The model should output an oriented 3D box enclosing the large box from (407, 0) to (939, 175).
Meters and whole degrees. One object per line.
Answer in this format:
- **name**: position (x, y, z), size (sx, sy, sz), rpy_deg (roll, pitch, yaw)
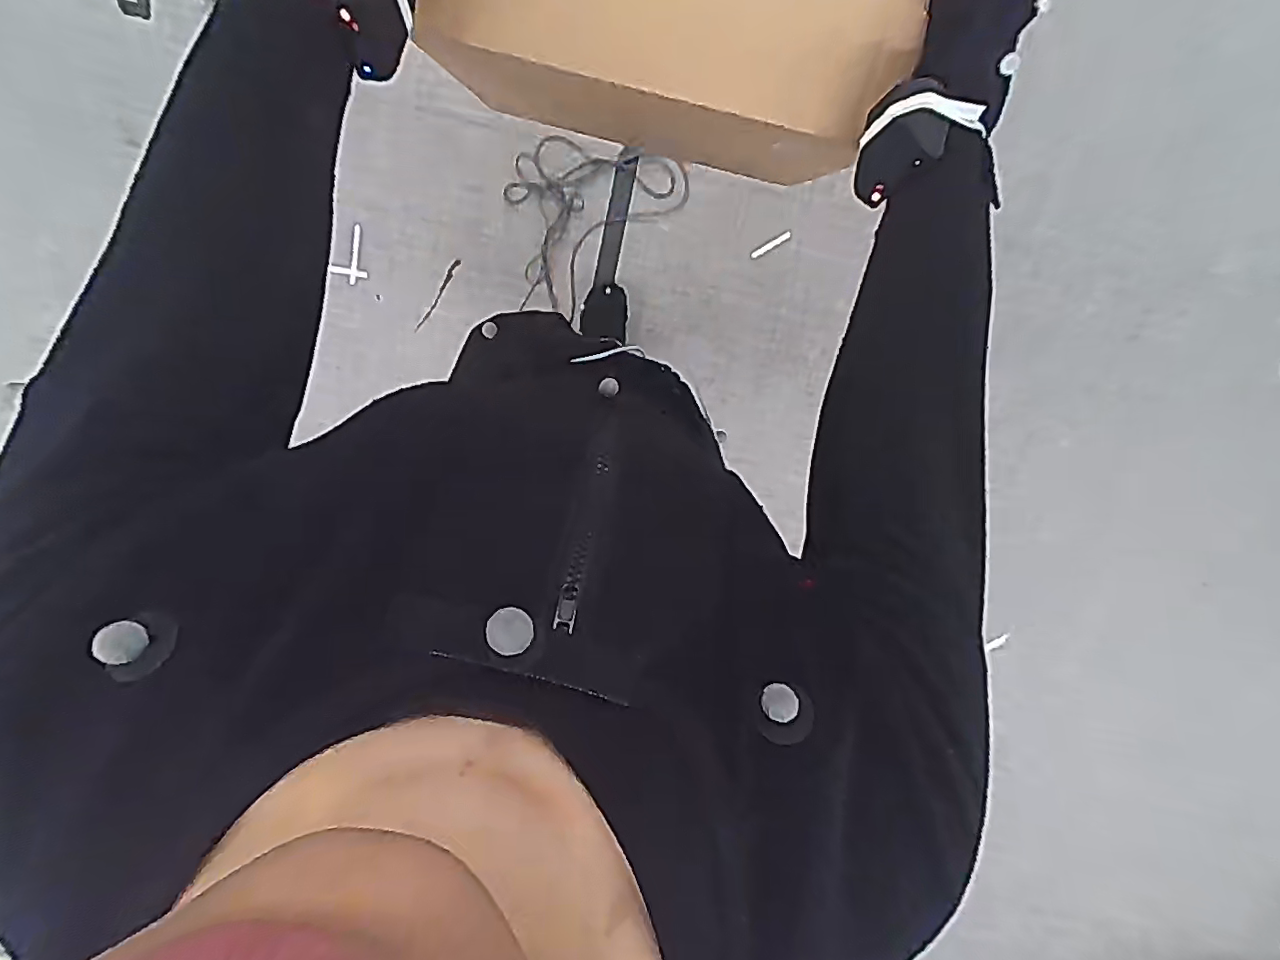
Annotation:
- **large box**: position (0.044, -0.514, 0.503), size (0.408, 0.320, 0.320), rpy_deg (11, 115, -6)
